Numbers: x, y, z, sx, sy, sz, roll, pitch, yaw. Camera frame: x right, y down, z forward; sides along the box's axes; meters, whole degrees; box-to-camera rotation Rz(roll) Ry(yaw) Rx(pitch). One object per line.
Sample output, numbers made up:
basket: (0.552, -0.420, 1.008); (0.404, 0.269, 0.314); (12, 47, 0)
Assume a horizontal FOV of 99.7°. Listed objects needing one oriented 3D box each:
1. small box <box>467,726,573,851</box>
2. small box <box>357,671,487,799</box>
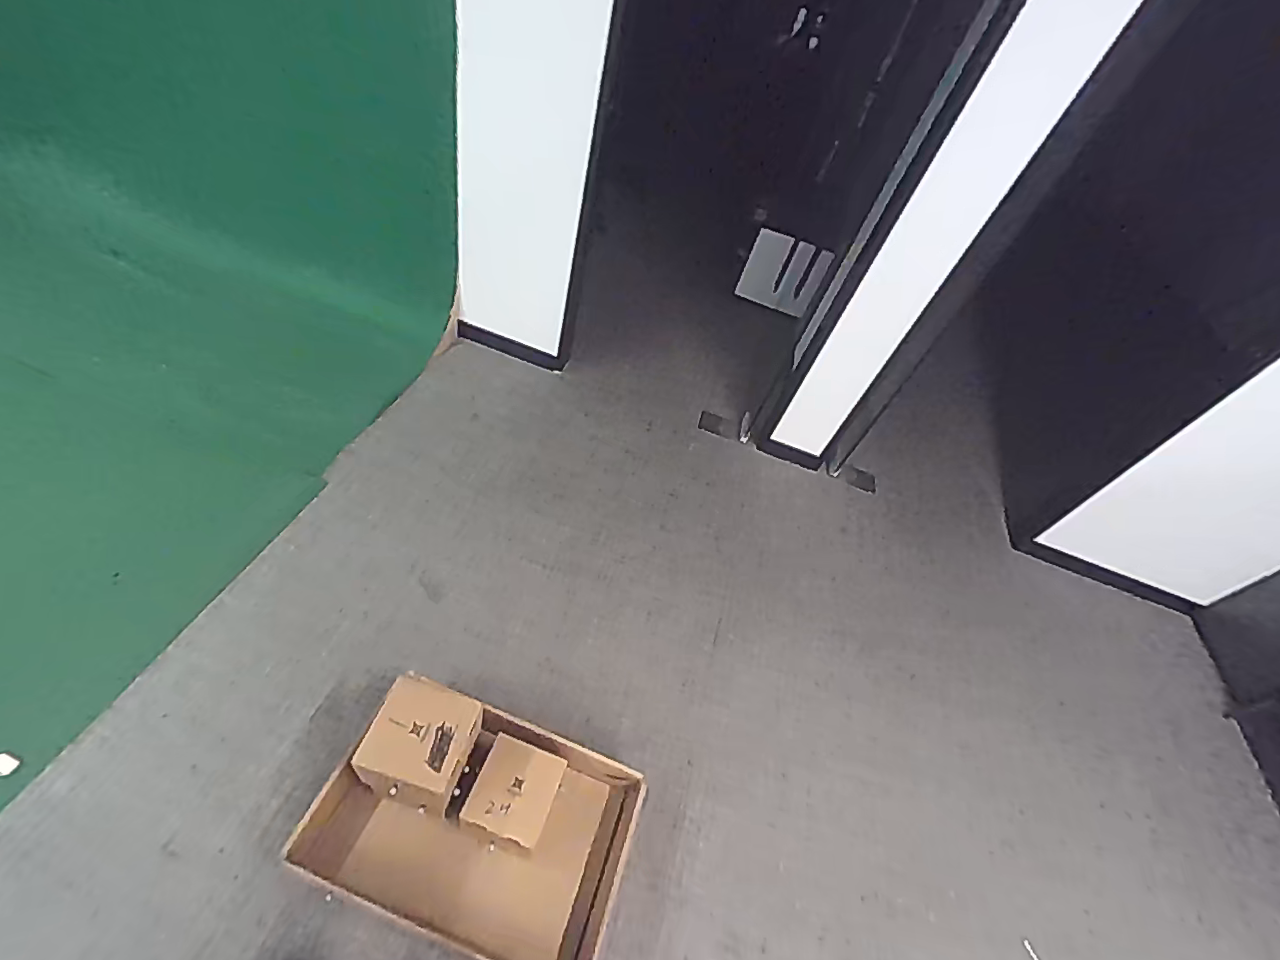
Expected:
small box: (-0.265, 0.681, 1.189); (0.168, 0.176, 0.179); (22, 48, 4)
small box: (-0.419, 0.510, 1.068); (0.179, 0.176, 0.168); (19, 48, 0)
